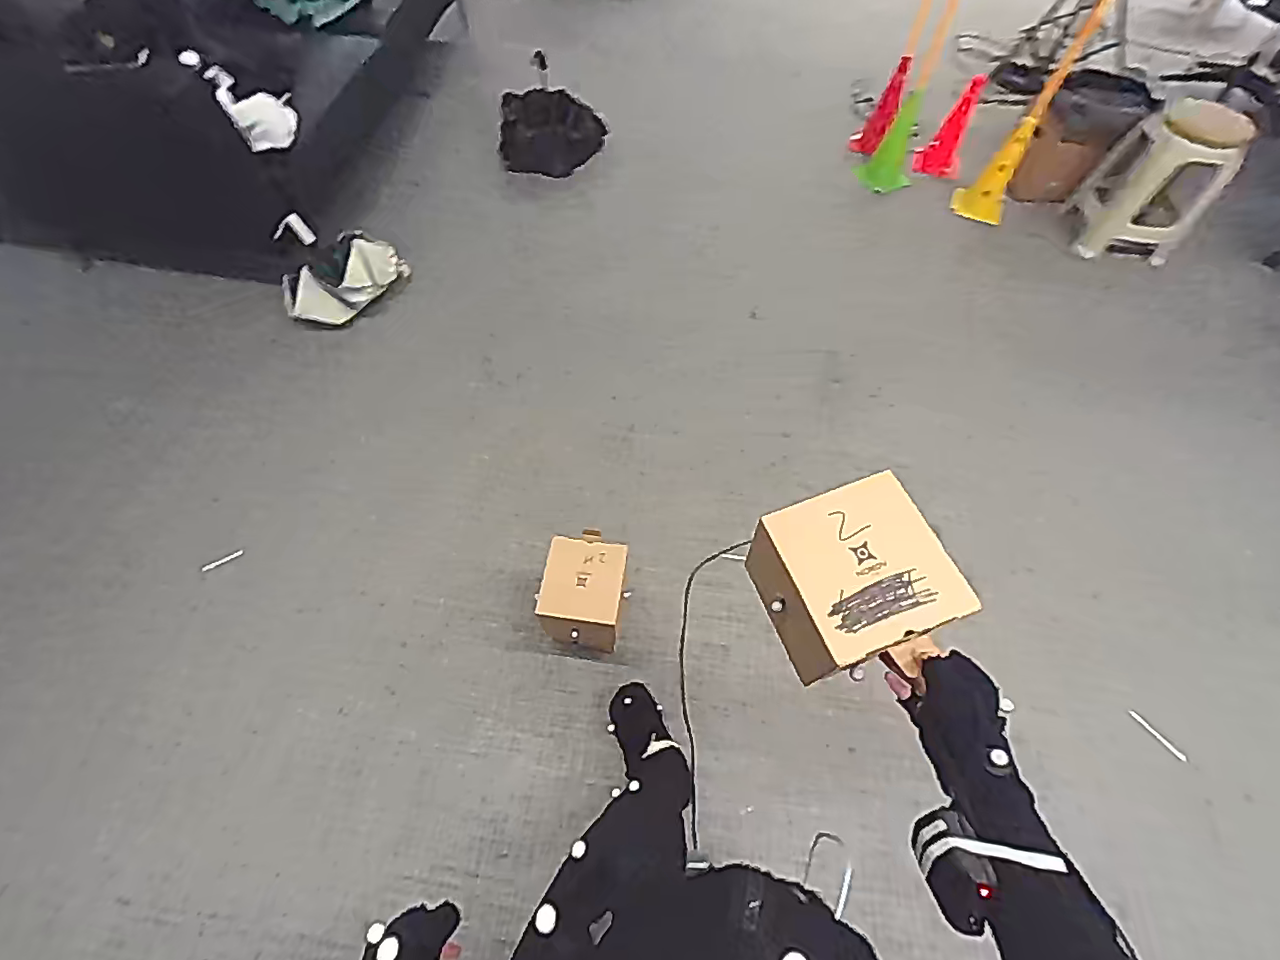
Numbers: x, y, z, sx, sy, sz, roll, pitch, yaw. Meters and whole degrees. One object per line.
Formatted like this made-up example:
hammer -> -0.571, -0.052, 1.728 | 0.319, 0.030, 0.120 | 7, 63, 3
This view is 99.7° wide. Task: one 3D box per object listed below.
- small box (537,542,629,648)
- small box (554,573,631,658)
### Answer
small box -> -0.116, 0.259, 1.188 | 0.168, 0.176, 0.179 | 8, 60, 3
small box -> -0.121, 0.323, 1.341 | 0.168, 0.176, 0.179 | 10, 61, 5
